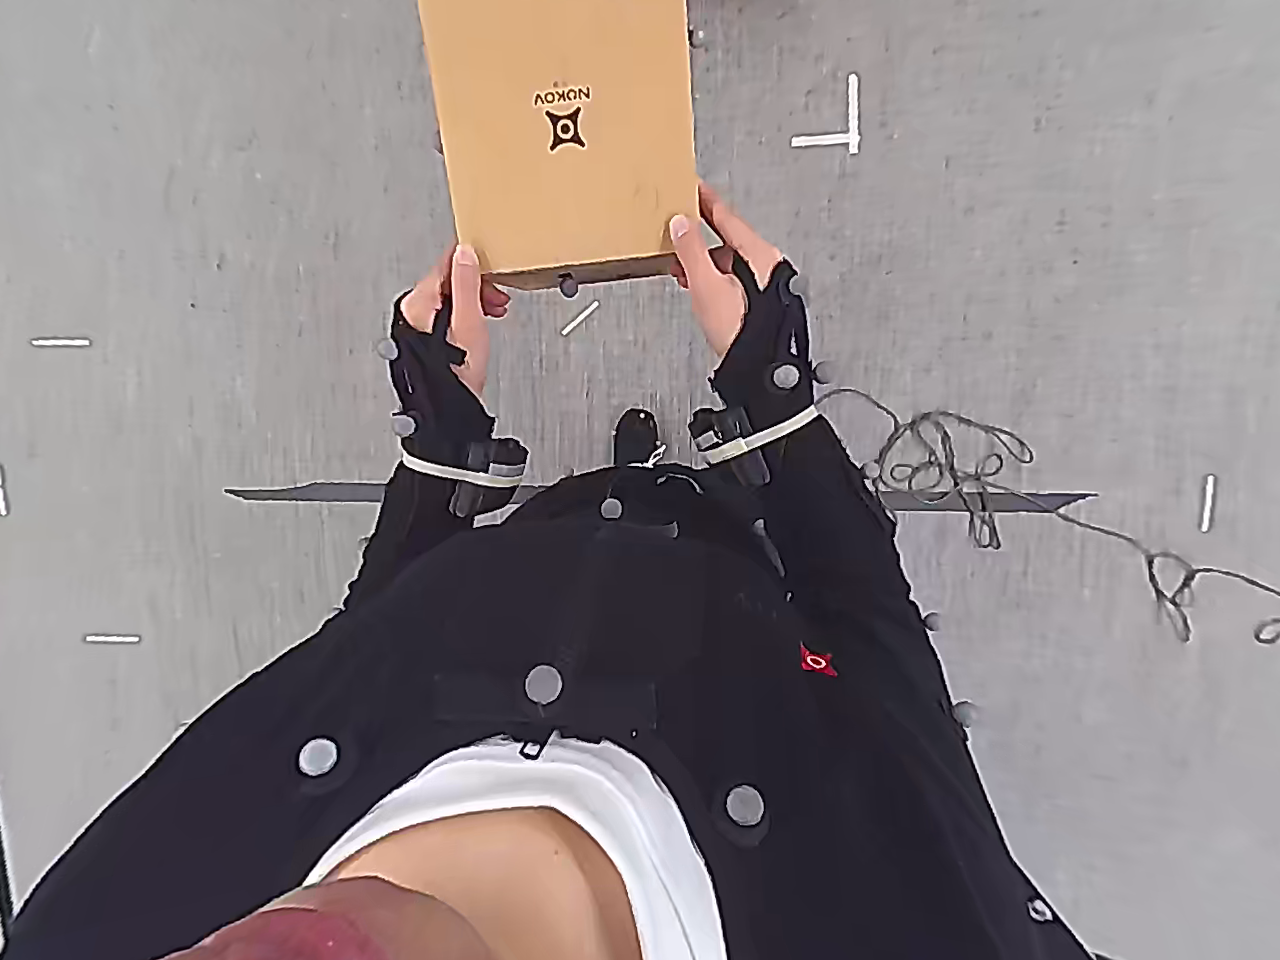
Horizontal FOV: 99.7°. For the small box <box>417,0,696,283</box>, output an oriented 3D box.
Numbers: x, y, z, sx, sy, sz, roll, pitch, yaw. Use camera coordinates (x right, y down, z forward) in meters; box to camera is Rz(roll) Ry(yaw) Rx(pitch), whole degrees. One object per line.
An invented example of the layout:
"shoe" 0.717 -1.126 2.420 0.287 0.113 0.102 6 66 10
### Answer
"small box" -0.045 -0.255 0.421 0.168 0.176 0.179 -5 104 4
